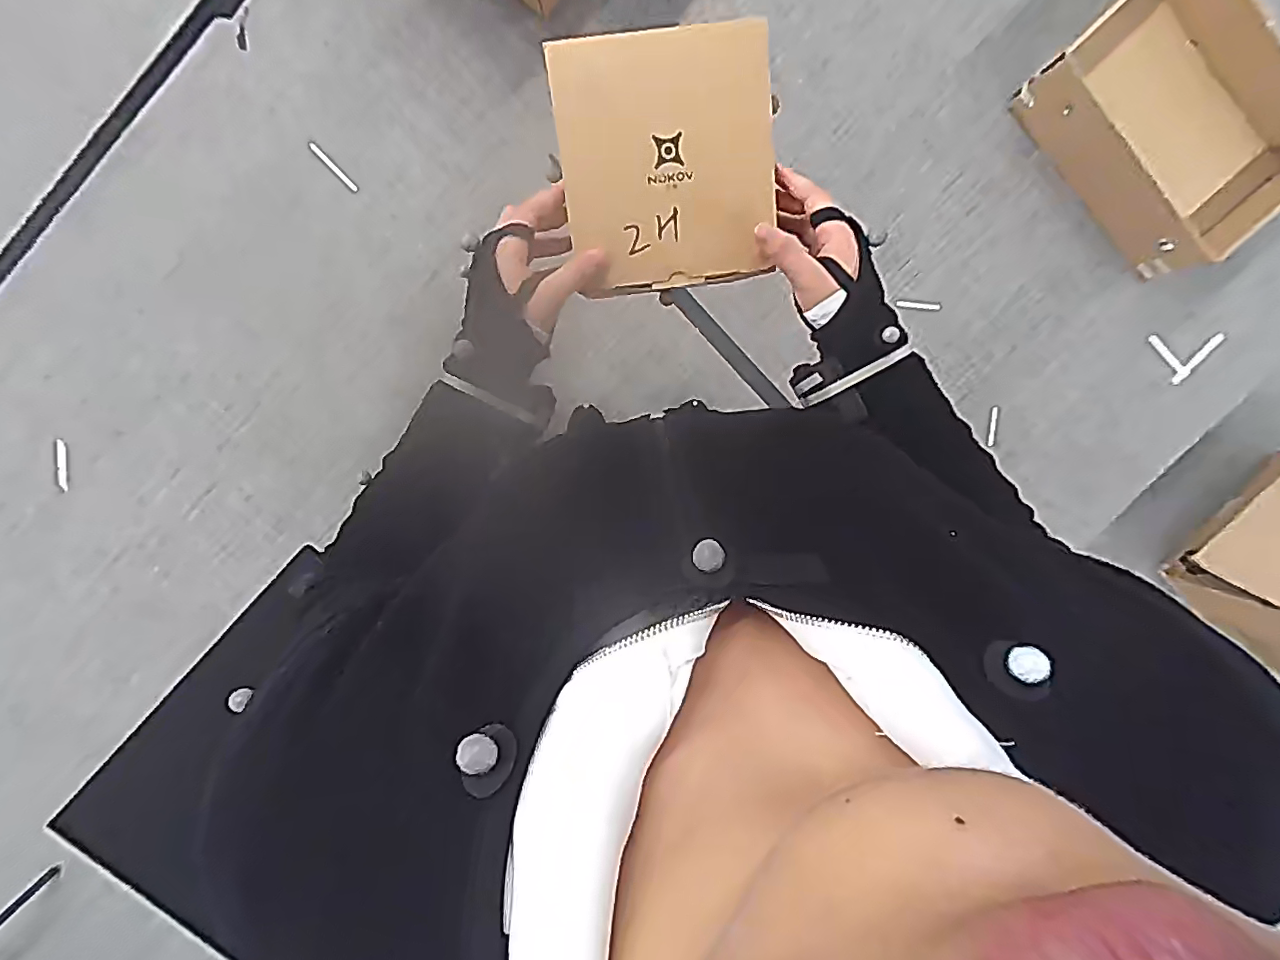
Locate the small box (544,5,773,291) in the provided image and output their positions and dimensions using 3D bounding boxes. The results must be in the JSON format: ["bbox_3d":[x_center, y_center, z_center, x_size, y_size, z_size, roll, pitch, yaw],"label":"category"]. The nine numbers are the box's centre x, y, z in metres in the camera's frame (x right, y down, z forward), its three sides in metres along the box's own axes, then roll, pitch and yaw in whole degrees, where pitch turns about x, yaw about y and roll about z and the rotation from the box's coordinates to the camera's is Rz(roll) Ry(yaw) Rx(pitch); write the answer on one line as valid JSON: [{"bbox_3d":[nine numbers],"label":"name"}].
[{"bbox_3d":[0.014,-0.274,0.488,0.168,0.176,0.179,-7,107,-1],"label":"small box"}]
